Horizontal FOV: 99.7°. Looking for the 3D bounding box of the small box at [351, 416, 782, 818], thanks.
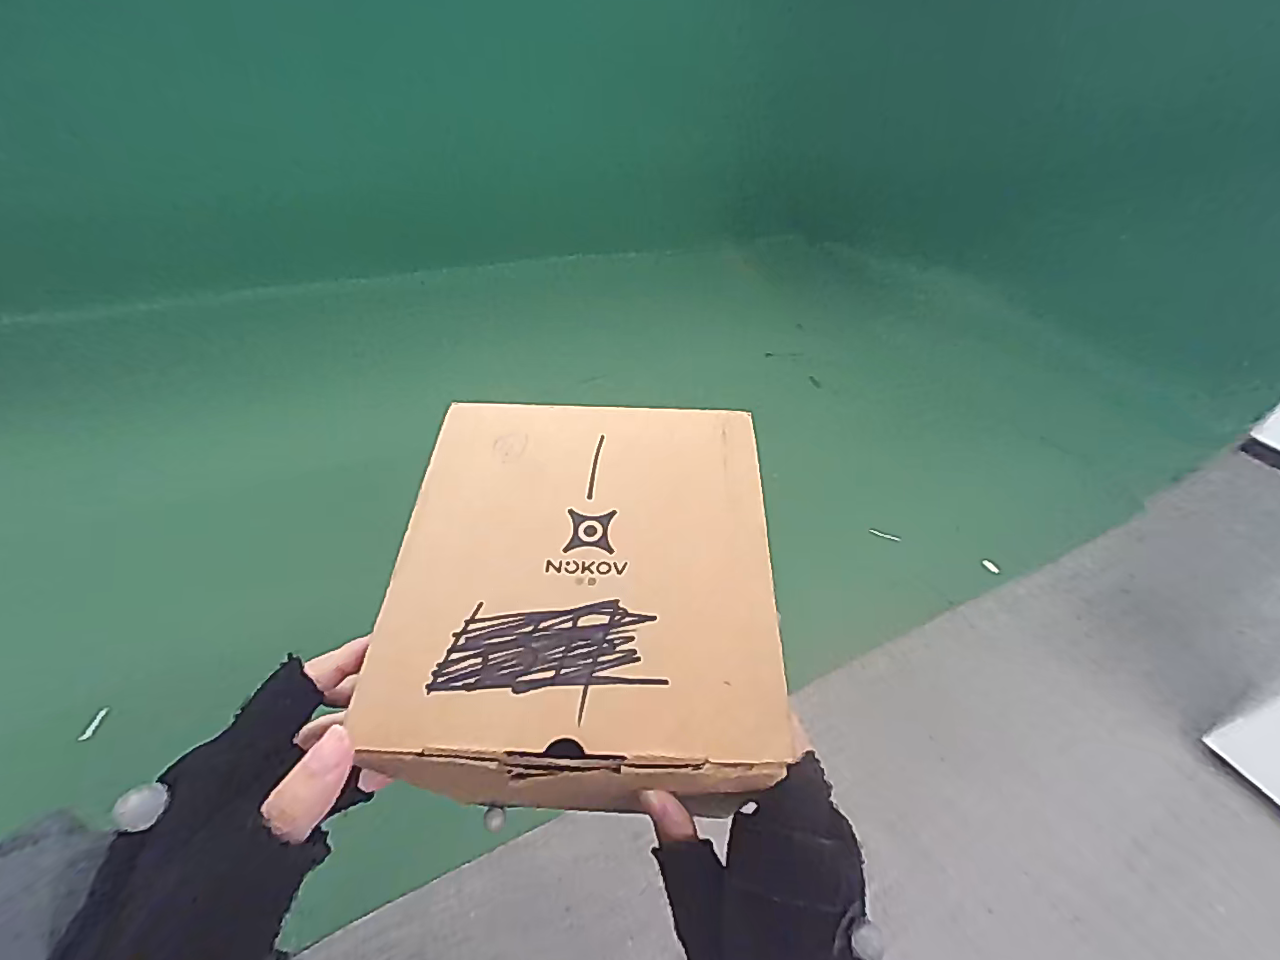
[{"bbox_3d":[-0.022,0.084,0.311,0.168,0.176,0.179,2,53,2],"label":"small box"}]
